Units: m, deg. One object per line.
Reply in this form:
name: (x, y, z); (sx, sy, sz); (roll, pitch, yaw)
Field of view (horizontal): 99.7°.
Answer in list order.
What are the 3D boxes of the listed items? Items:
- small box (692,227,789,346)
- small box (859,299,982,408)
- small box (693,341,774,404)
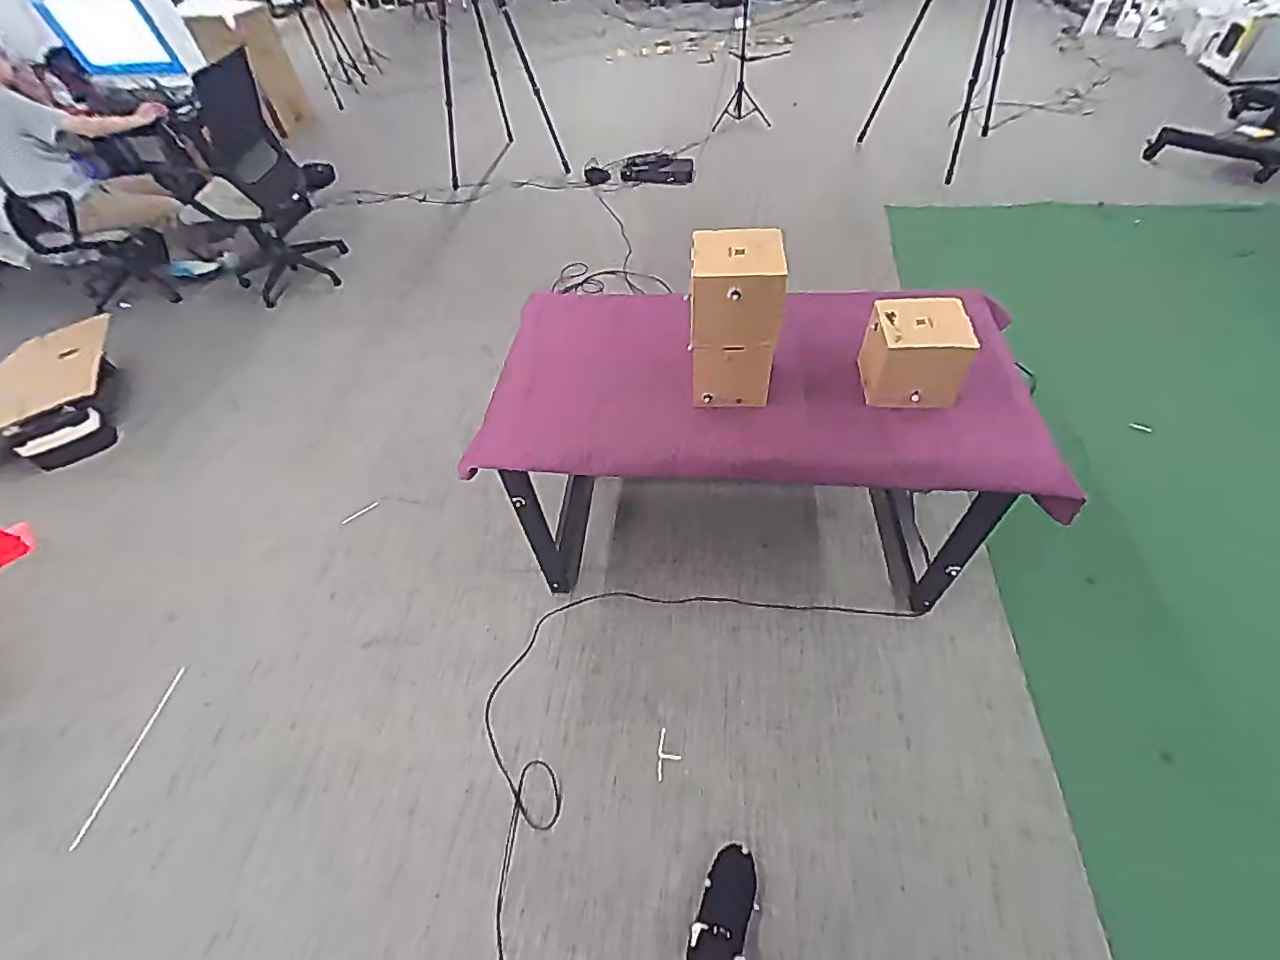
small box: (0.195, -0.385, 1.086); (0.179, 0.176, 0.168); (2, 53, 6)
small box: (0.594, -0.271, 1.170); (0.179, 0.176, 0.168); (3, 52, 7)
small box: (0.206, -0.287, 1.216); (0.168, 0.176, 0.179); (2, 51, 6)
